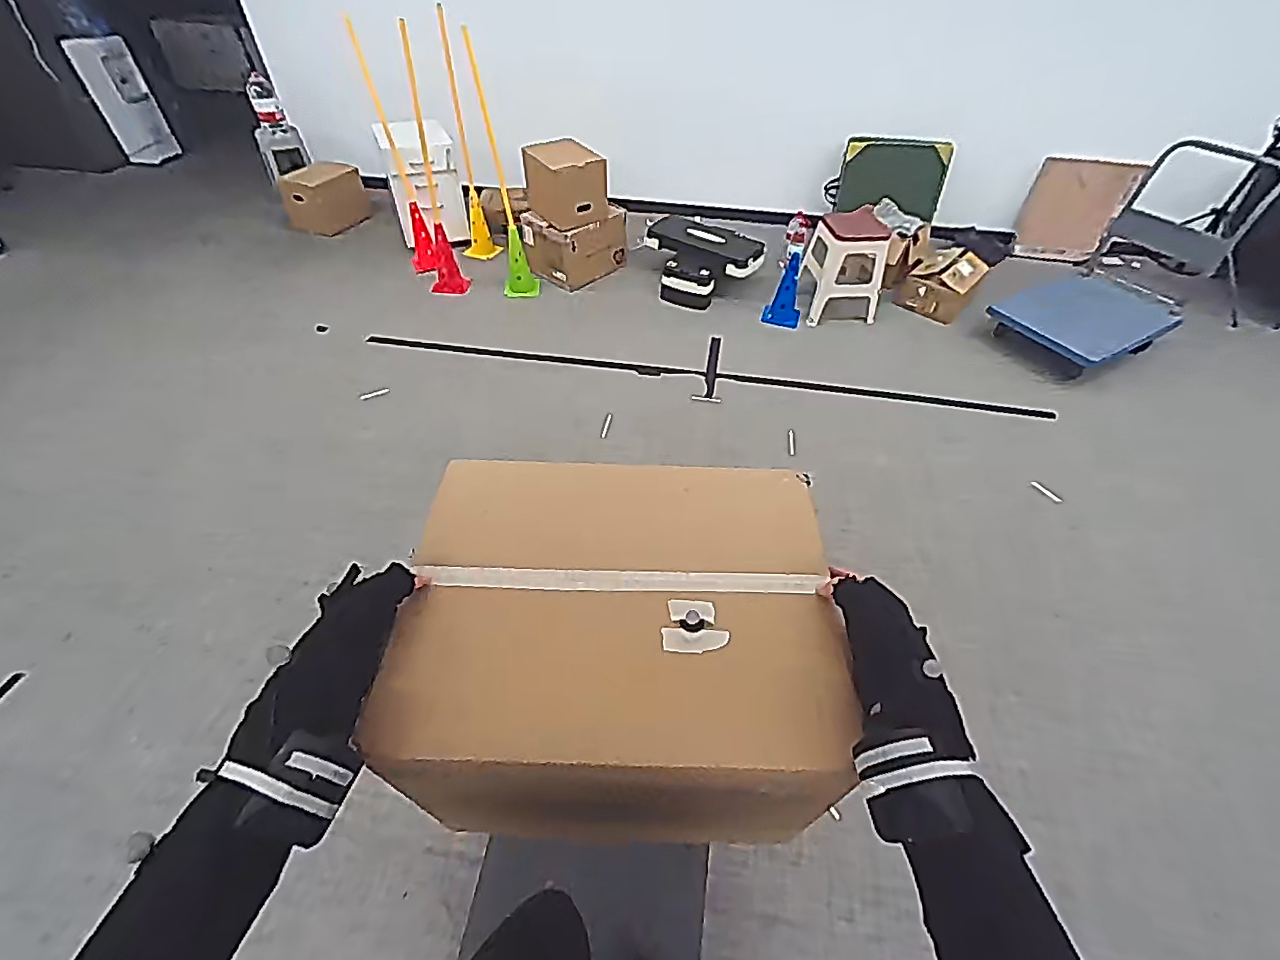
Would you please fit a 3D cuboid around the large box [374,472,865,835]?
[{"bbox_3d":[-0.018,0.207,0.639,0.408,0.320,0.320,2,48,0],"label":"large box"}]
